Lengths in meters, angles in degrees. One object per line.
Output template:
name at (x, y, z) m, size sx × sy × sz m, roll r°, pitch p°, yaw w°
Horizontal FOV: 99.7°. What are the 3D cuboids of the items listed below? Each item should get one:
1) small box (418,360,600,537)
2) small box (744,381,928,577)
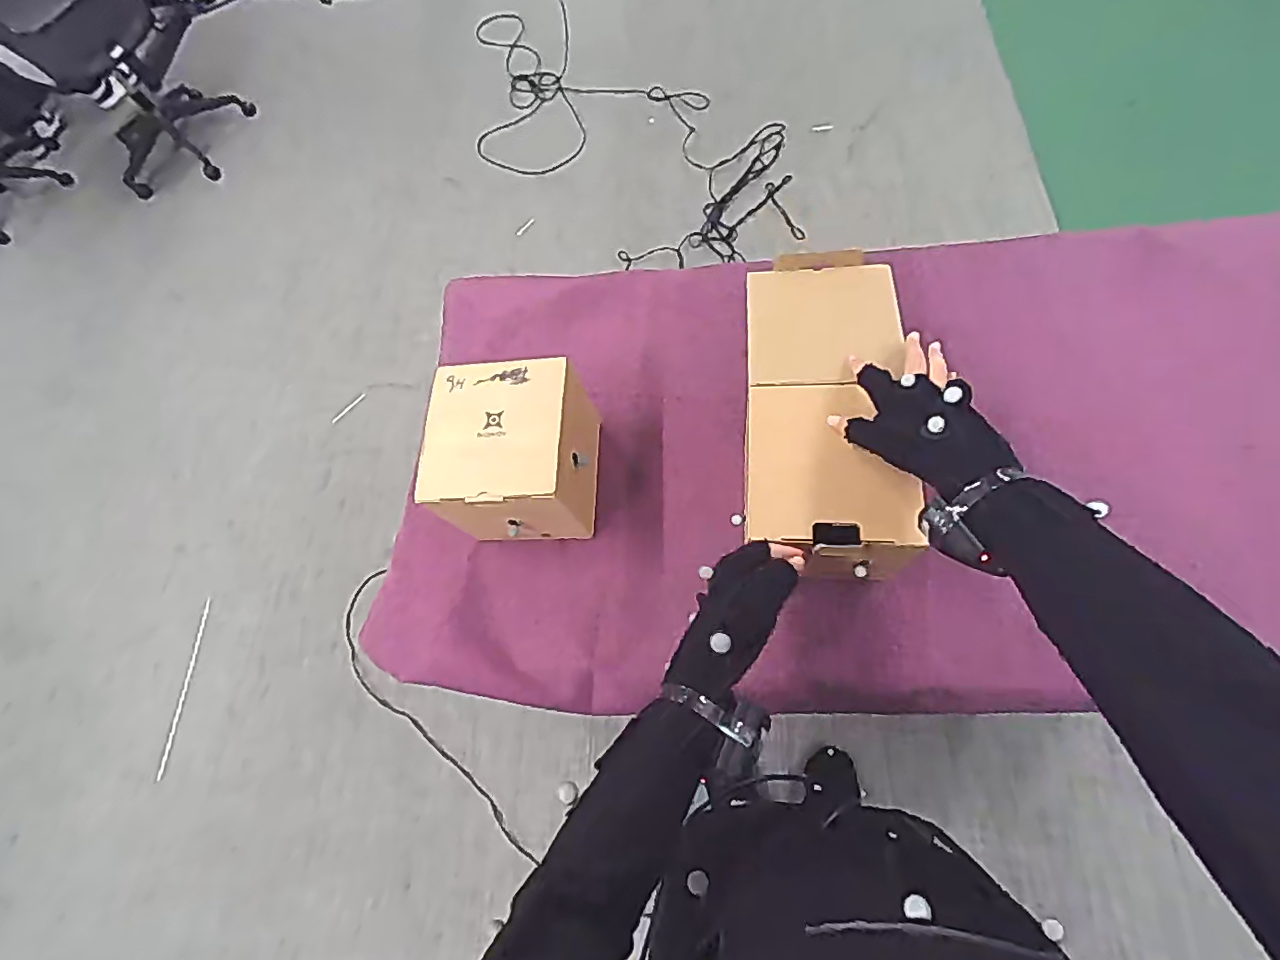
small box at (-0.151, -0.028, 0.686) m, size 0.168 × 0.176 × 0.179 m, roll -2°, pitch 69°, yaw 9°
small box at (0.204, 0.008, 0.608) m, size 0.168 × 0.176 × 0.179 m, roll 0°, pitch 68°, yaw 10°
